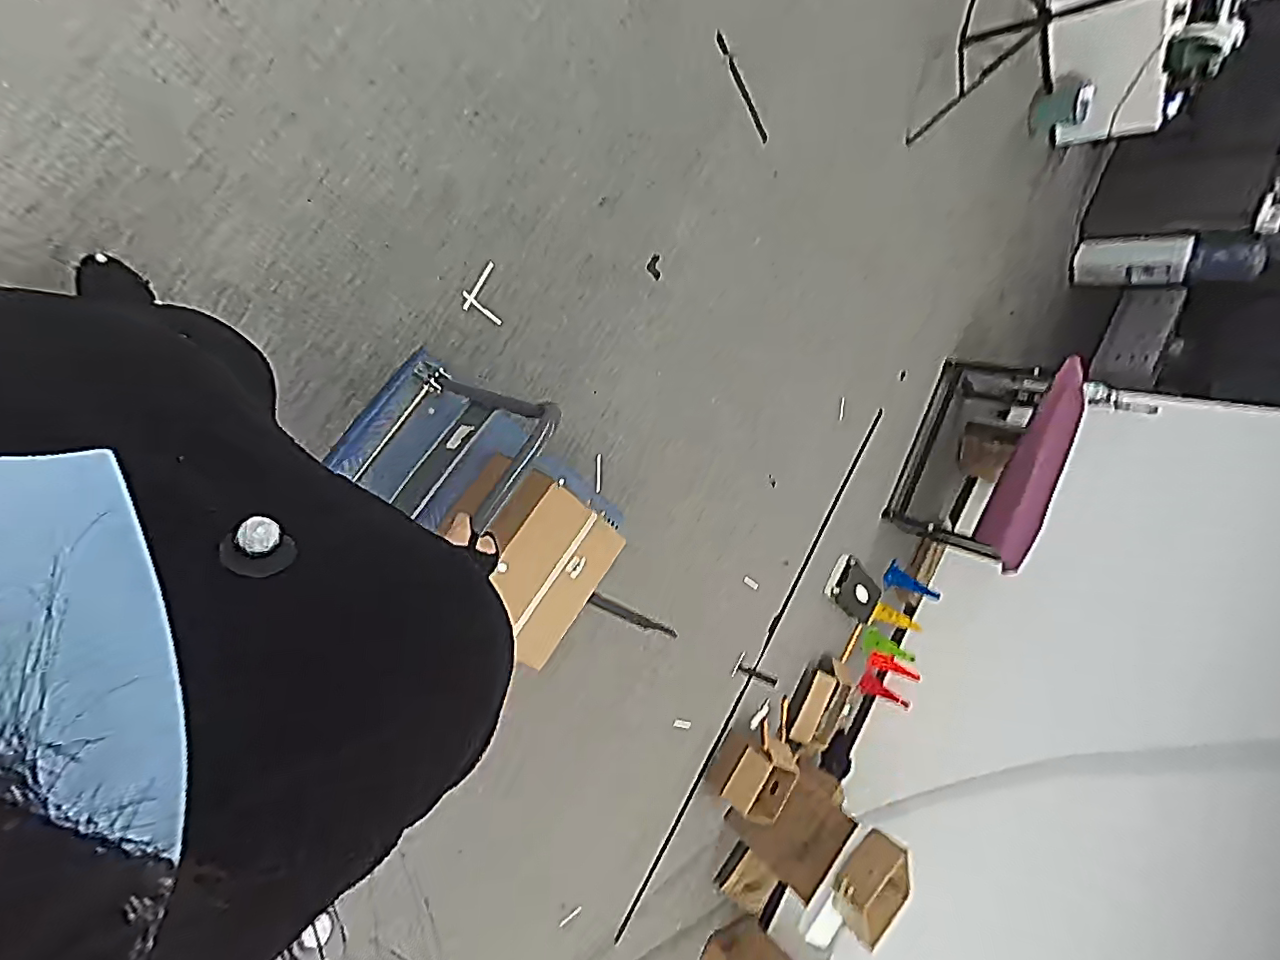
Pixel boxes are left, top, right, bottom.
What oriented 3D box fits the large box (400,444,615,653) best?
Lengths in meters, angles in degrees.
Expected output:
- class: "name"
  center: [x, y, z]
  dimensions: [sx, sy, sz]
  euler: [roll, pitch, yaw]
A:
- class: "large box"
  center: [-0.347, 0.172, 1.430]
  dimensions: [0.408, 0.320, 0.320]
  euler: [-57, 135, -12]
